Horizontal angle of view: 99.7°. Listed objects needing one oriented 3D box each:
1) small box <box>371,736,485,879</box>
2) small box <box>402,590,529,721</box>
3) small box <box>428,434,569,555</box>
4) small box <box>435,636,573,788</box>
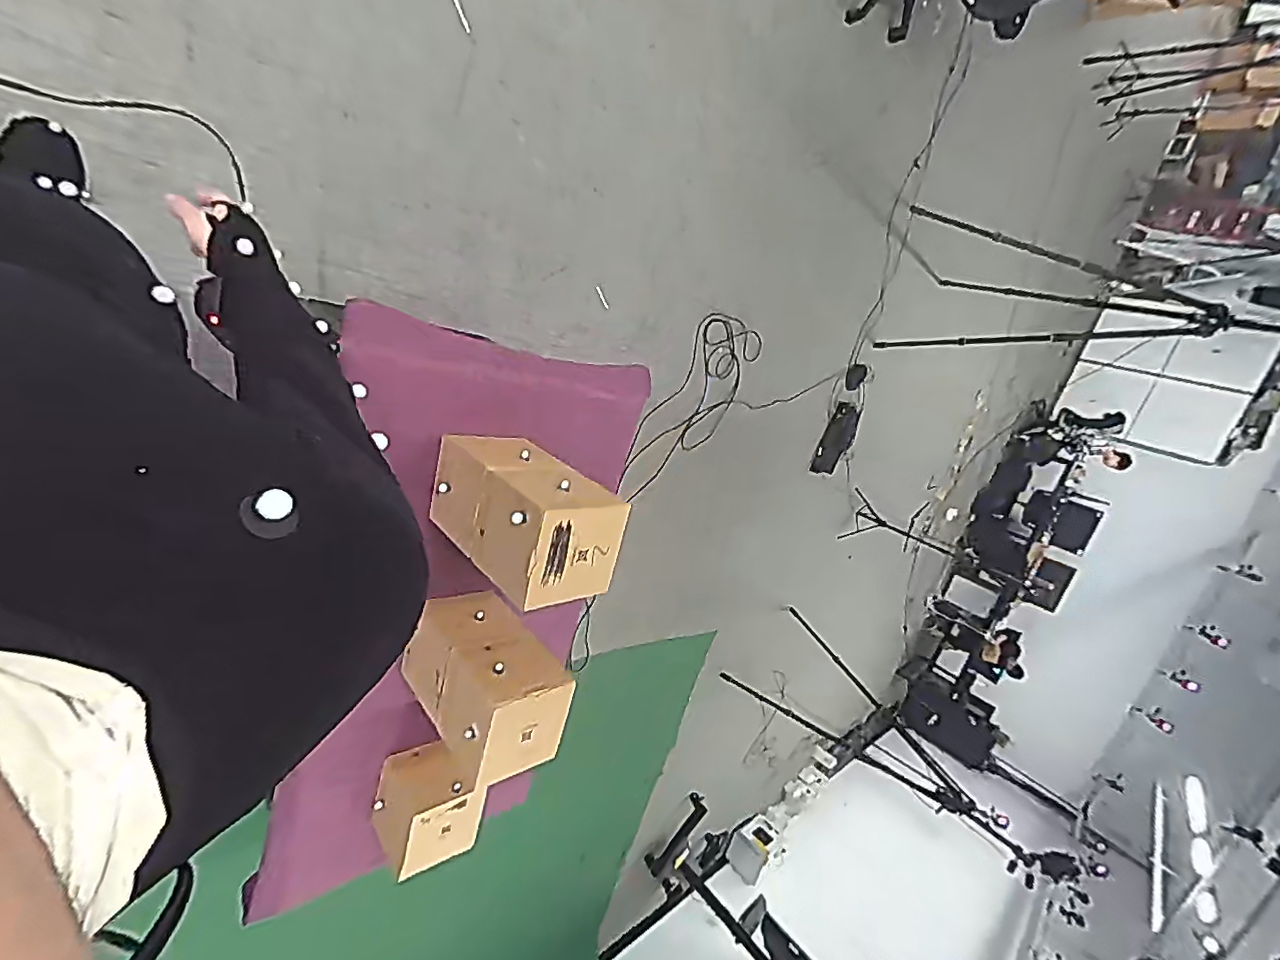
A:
[{"bbox_3d":[-0.470,0.704,1.184,0.168,0.176,0.179,2,110,-46],"label":"small box"},{"bbox_3d":[-0.357,0.342,1.089,0.179,0.176,0.168,1,112,-46],"label":"small box"},{"bbox_3d":[-0.263,0.021,0.996,0.179,0.176,0.168,0,112,-45],"label":"small box"},{"bbox_3d":[-0.252,0.403,0.980,0.168,0.176,0.179,2,112,-45],"label":"small box"}]
